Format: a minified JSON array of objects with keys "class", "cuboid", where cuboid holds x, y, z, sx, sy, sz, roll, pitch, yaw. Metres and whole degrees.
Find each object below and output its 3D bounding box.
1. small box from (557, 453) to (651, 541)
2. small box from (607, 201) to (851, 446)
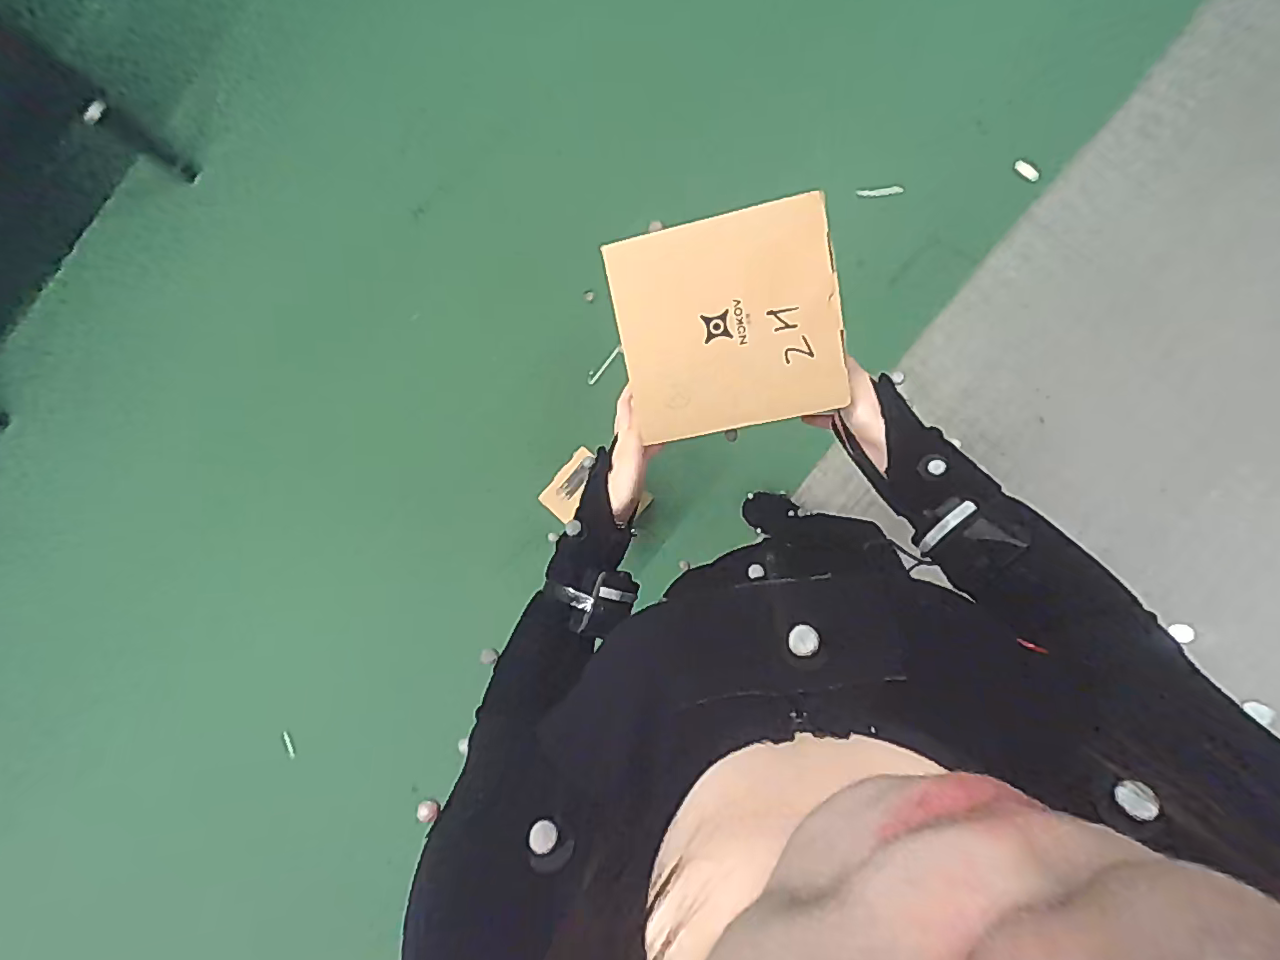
[{"class":"small box","cuboid":[-0.089,0.046,1.481,0.179,0.176,0.168,40,94,10]},{"class":"small box","cuboid":[0.082,-0.134,0.507,0.179,0.176,0.168,-9,101,9]}]
